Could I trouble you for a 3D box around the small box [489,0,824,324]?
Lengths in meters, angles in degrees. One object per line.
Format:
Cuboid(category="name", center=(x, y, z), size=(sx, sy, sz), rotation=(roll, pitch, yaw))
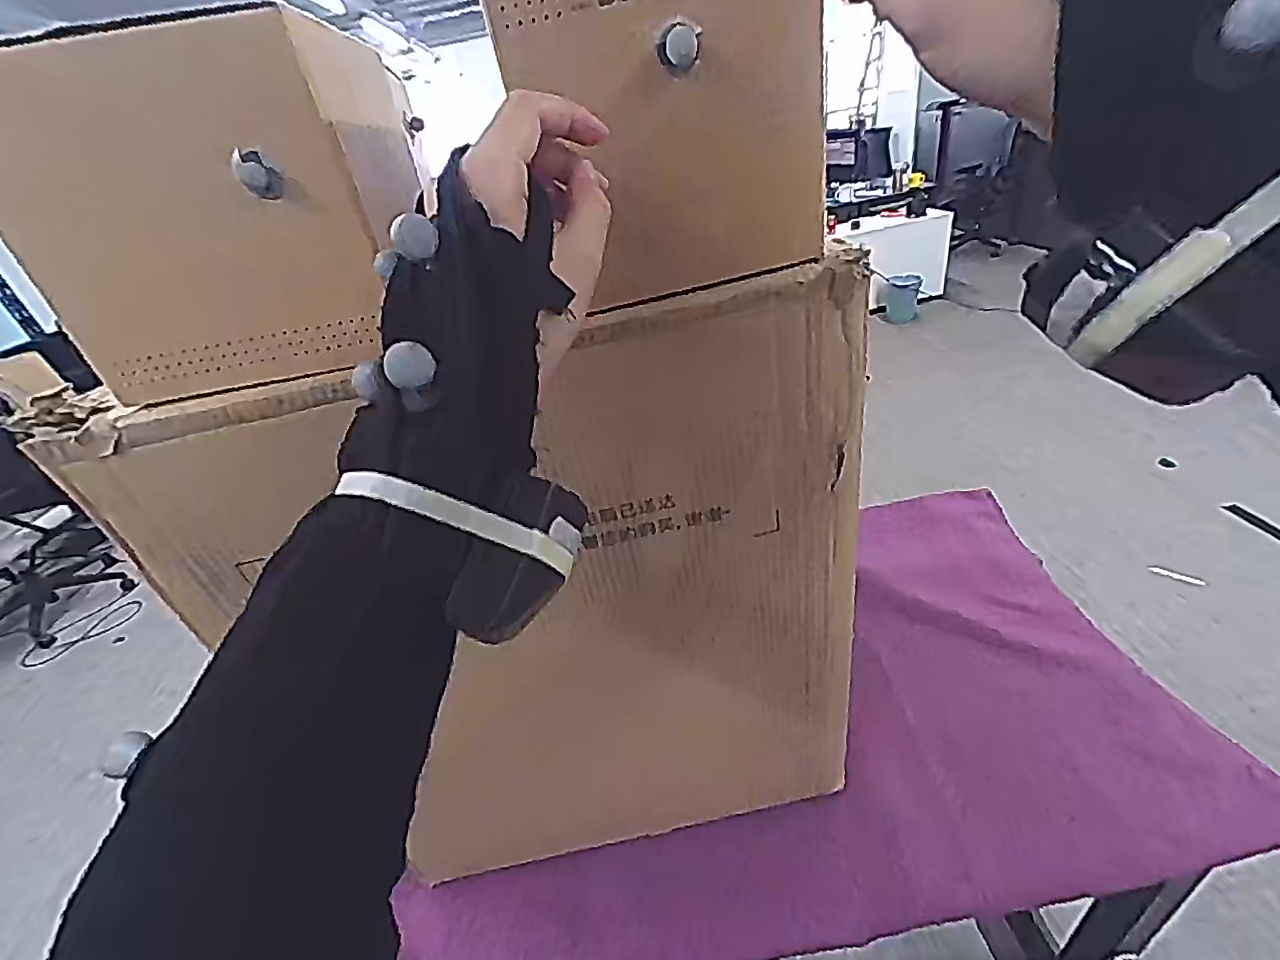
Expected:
Cuboid(category="small box", center=(0.010, -0.225, 0.358), size=(0.168, 0.176, 0.179), rotation=(-14, 32, -1))
